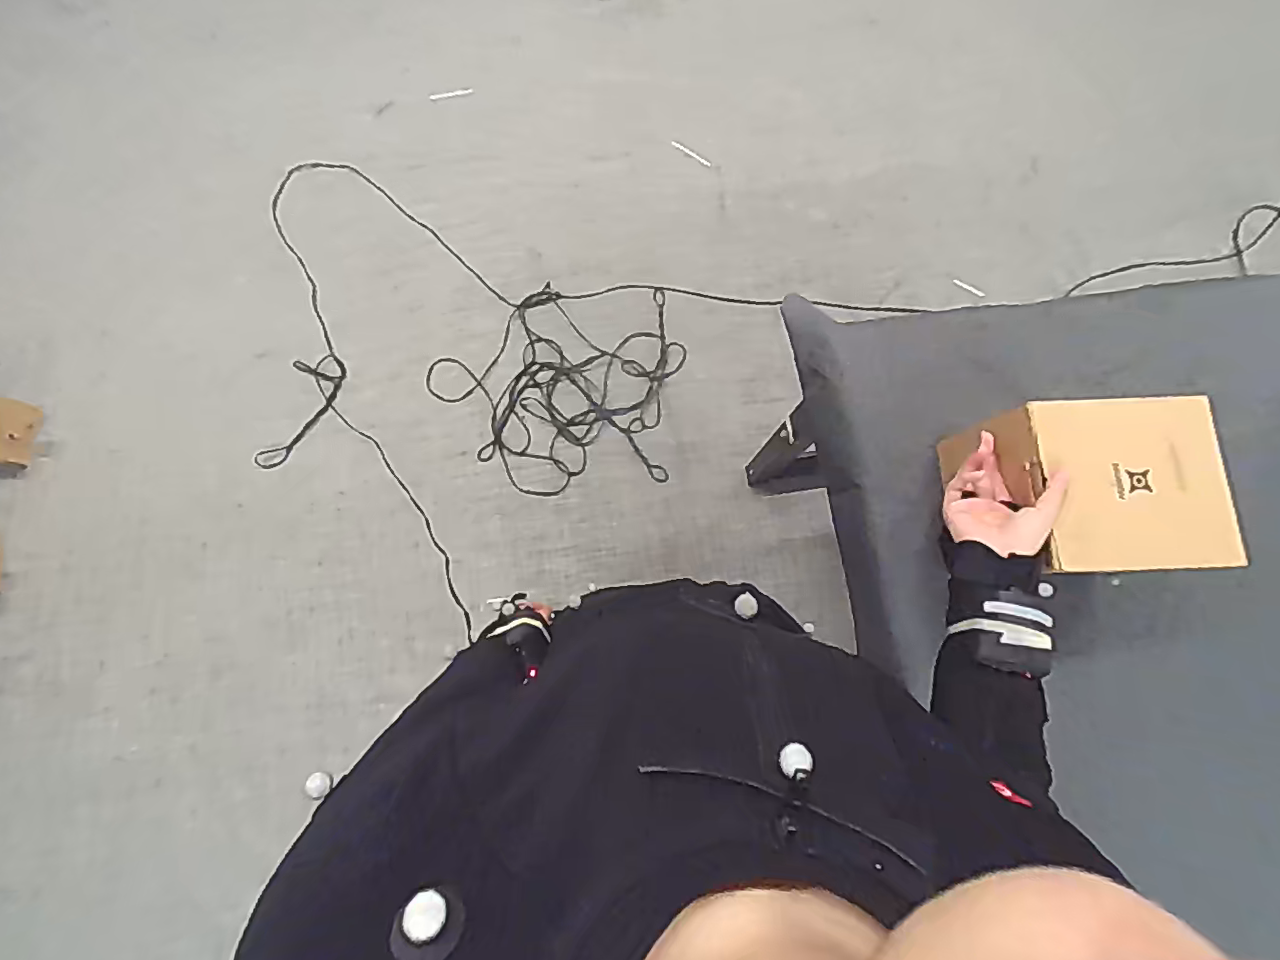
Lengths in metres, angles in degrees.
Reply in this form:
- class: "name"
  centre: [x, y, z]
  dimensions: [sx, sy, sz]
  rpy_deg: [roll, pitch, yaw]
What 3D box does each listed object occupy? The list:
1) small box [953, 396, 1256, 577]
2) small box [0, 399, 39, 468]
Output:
- class: "small box"
  centre: [0.464, 0.017, 0.578]
  dimensions: [0.179, 0.176, 0.168]
  rpy_deg: [-3, 80, -1]
- class: "small box"
  centre: [-1.714, -0.128, 1.369]
  dimensions: [0.179, 0.176, 0.168]
  rpy_deg: [3, 79, 1]
